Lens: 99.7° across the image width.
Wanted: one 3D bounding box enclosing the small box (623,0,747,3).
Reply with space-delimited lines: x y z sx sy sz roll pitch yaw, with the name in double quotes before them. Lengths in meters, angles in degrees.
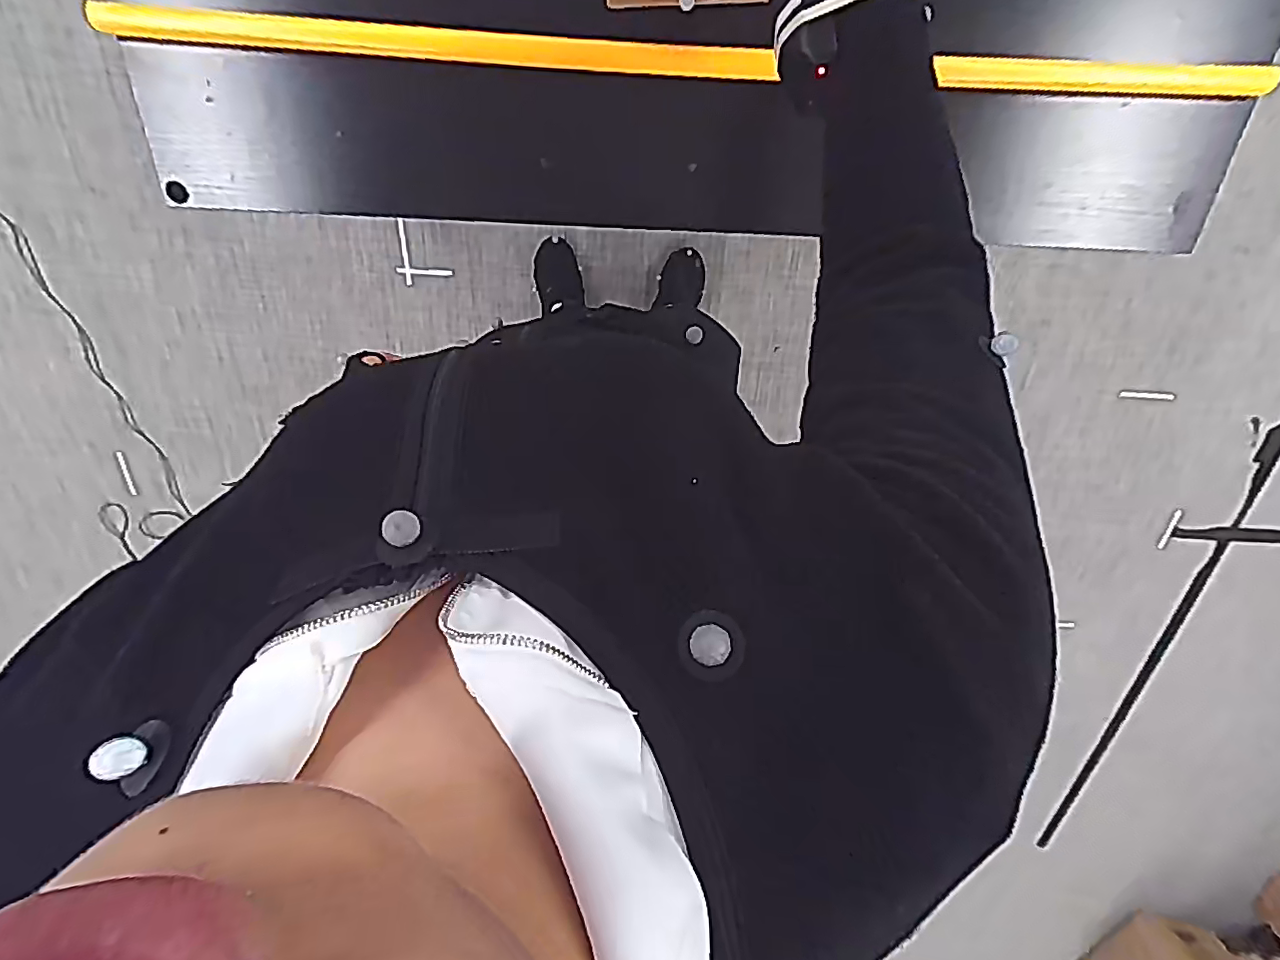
"small box" 0.048 -0.533 0.442 0.168 0.176 0.179 -2 116 0
